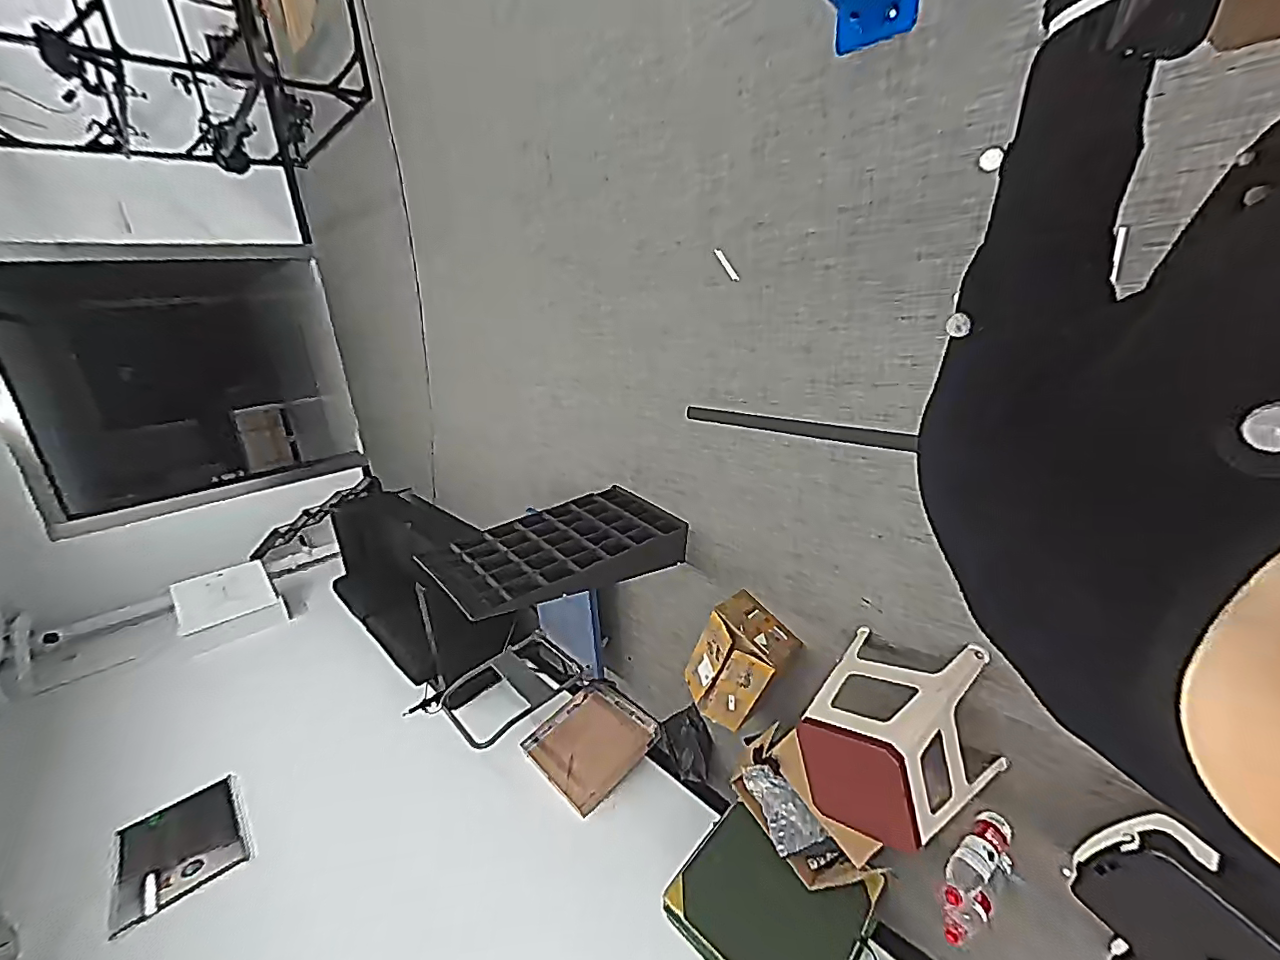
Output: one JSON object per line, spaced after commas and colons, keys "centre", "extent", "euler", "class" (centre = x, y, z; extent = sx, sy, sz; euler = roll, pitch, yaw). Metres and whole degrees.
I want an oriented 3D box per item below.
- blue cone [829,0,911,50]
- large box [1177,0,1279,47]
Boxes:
{"centre": [0.429, -1.111, 1.179], "extent": [0.192, 0.380, 0.193], "euler": [21, 121, 46], "class": "blue cone"}
{"centre": [0.553, -0.477, 0.244], "extent": [0.408, 0.320, 0.320], "euler": [15, 122, 46], "class": "large box"}
